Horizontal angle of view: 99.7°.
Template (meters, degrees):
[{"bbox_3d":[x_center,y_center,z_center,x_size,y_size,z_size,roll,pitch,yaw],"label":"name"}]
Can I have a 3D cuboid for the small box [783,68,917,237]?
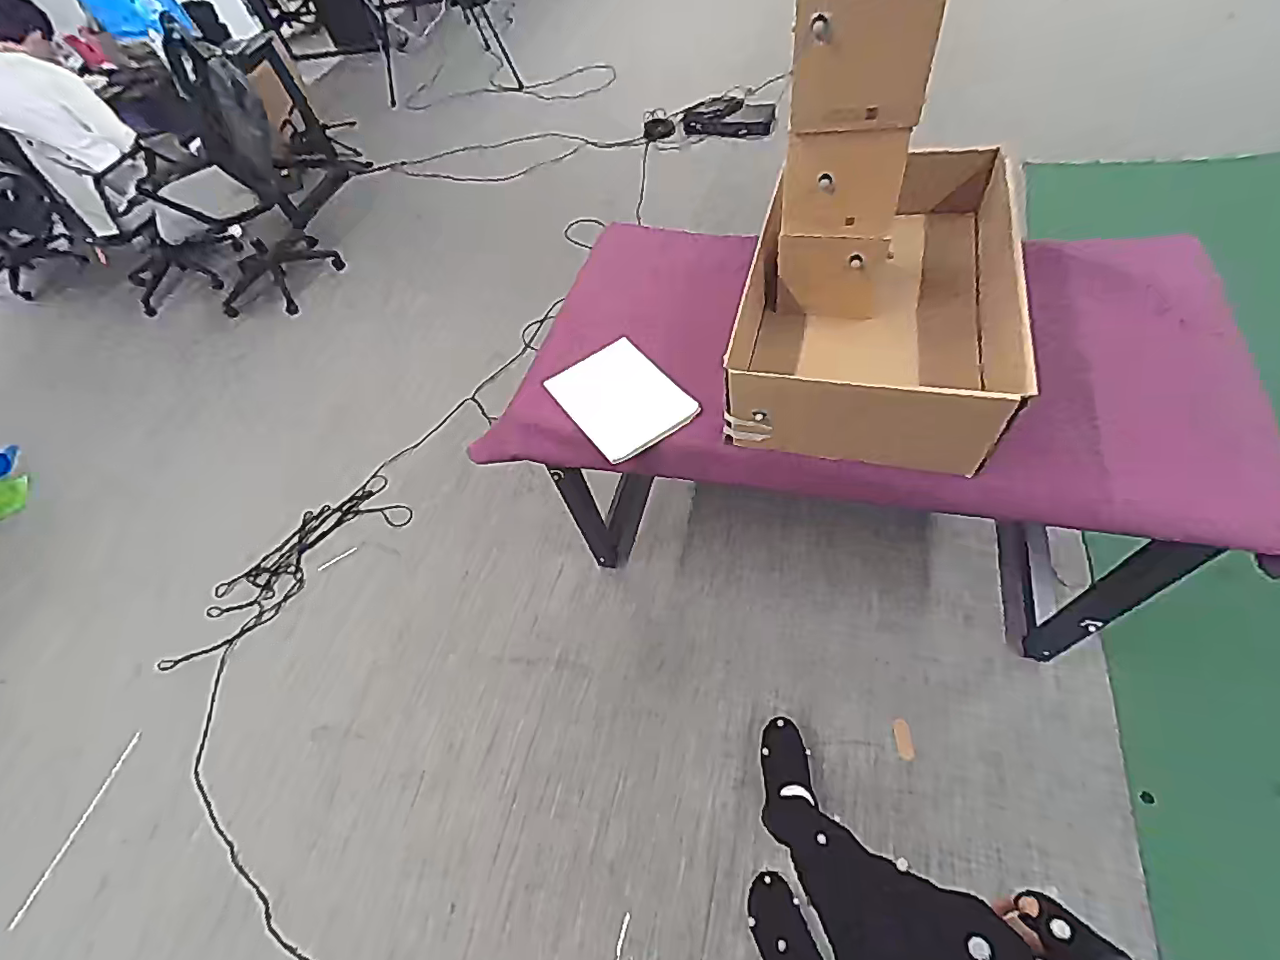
[{"bbox_3d":[0.322,-0.506,0.849,0.168,0.176,0.179,10,60,18],"label":"small box"}]
